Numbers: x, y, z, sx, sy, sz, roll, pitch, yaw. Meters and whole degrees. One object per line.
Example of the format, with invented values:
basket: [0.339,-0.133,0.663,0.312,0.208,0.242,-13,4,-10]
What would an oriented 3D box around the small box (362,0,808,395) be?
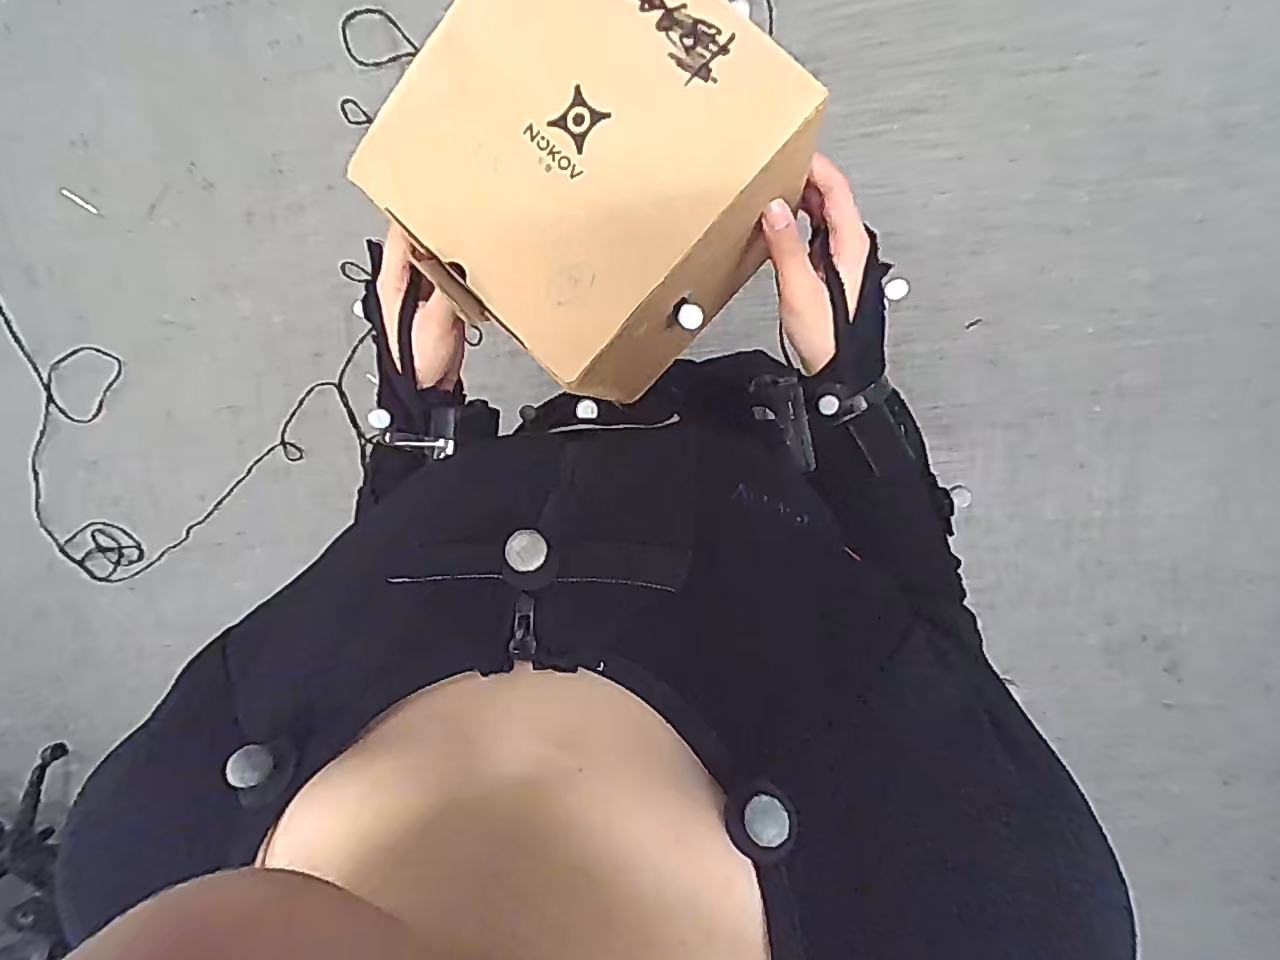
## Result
small box: [-0.020,-0.169,0.343,0.168,0.176,0.179,44,102,3]
